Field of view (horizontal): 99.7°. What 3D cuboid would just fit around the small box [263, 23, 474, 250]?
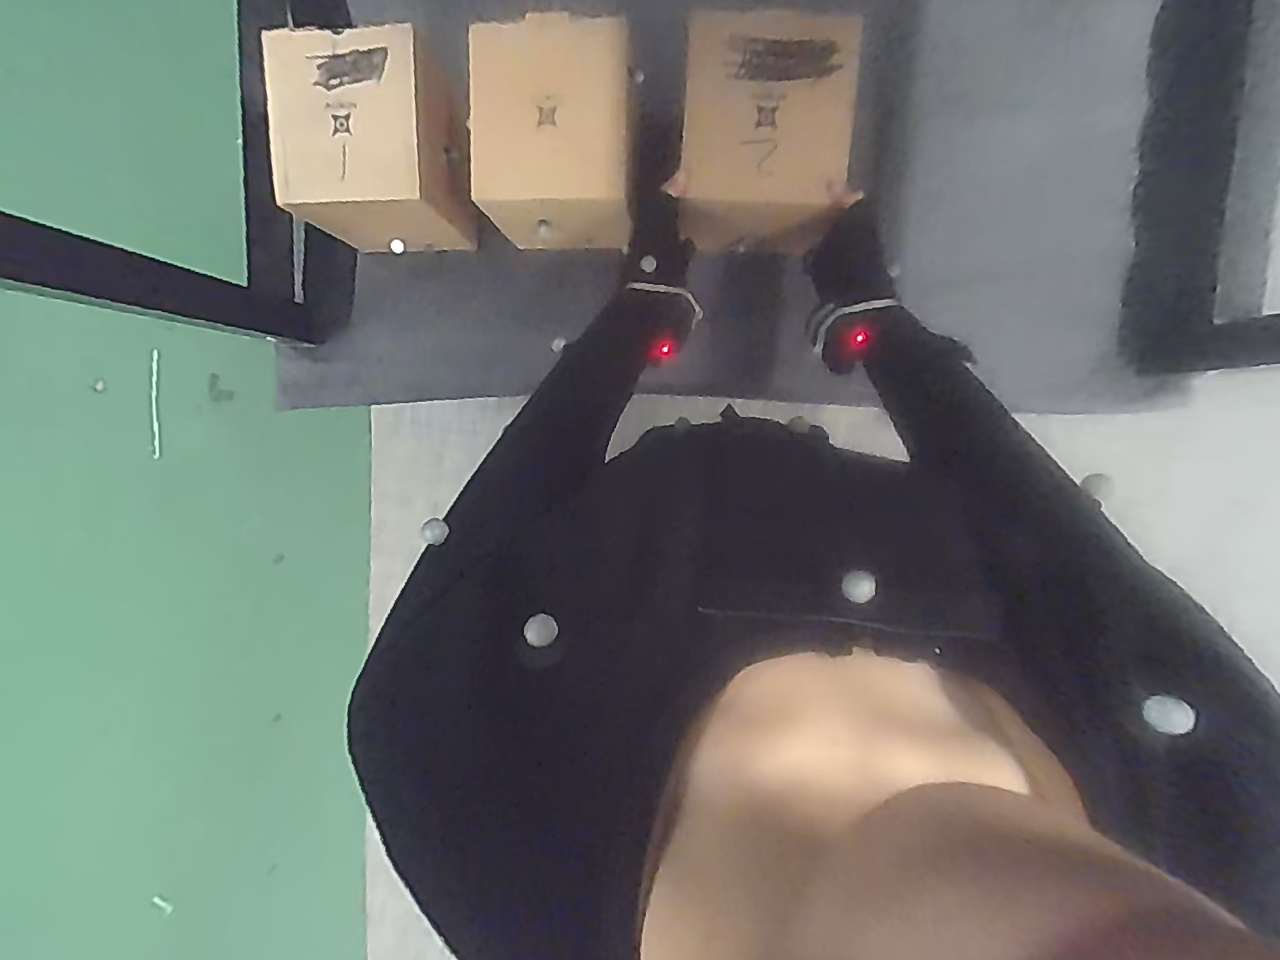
[{"bbox_3d":[-0.310,-0.393,0.648,0.168,0.176,0.179,1,96,5],"label":"small box"}]
